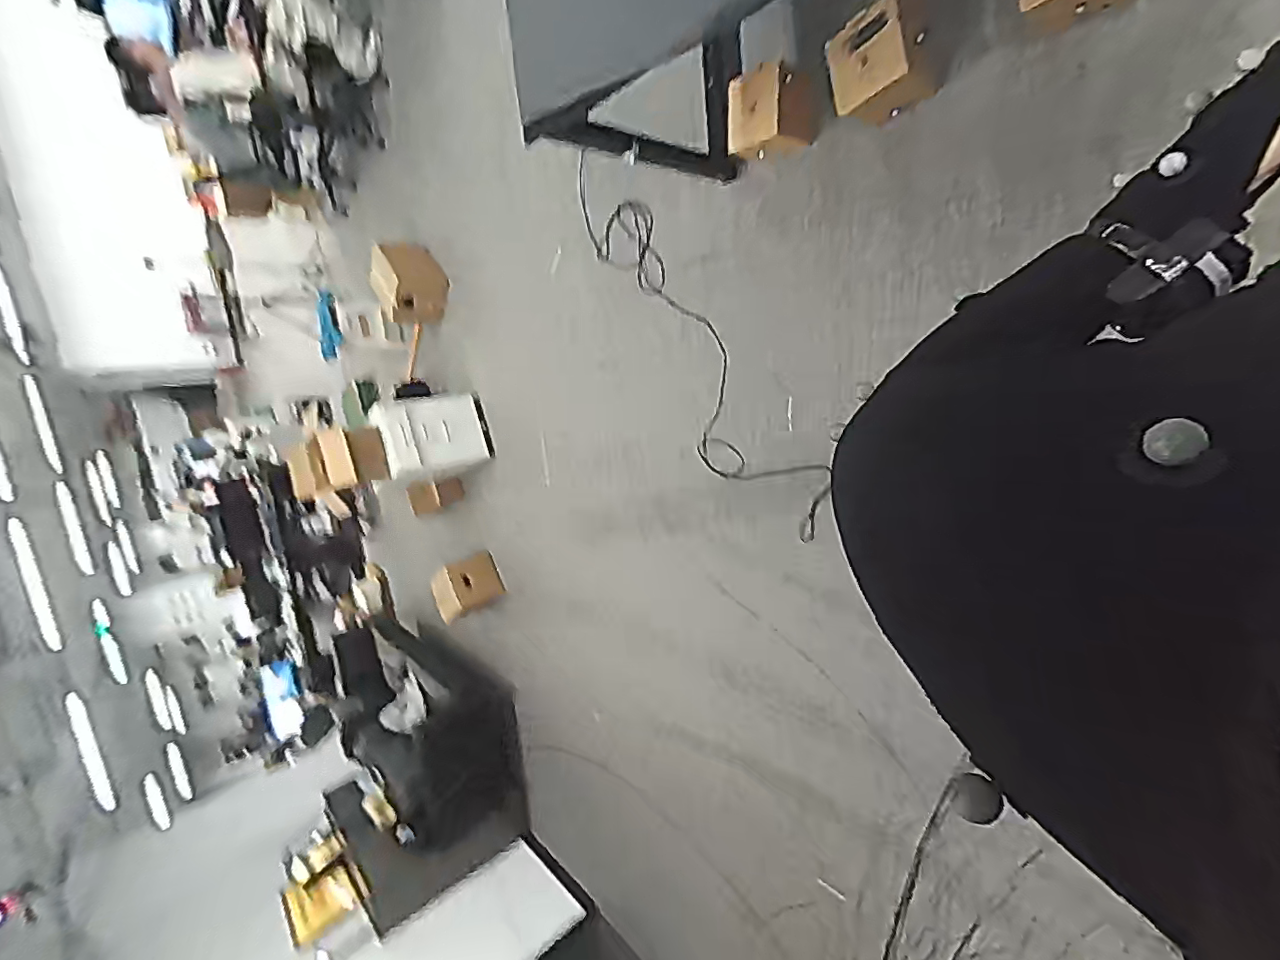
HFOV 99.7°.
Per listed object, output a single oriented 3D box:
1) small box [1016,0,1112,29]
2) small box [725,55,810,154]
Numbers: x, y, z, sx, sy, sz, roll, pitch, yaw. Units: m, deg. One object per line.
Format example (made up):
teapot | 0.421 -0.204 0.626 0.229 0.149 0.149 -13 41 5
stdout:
small box | 0.805 -0.974 0.987 0.168 0.176 0.179 1 102 48
small box | 0.354 -1.022 1.495 0.168 0.176 0.179 14 111 46
